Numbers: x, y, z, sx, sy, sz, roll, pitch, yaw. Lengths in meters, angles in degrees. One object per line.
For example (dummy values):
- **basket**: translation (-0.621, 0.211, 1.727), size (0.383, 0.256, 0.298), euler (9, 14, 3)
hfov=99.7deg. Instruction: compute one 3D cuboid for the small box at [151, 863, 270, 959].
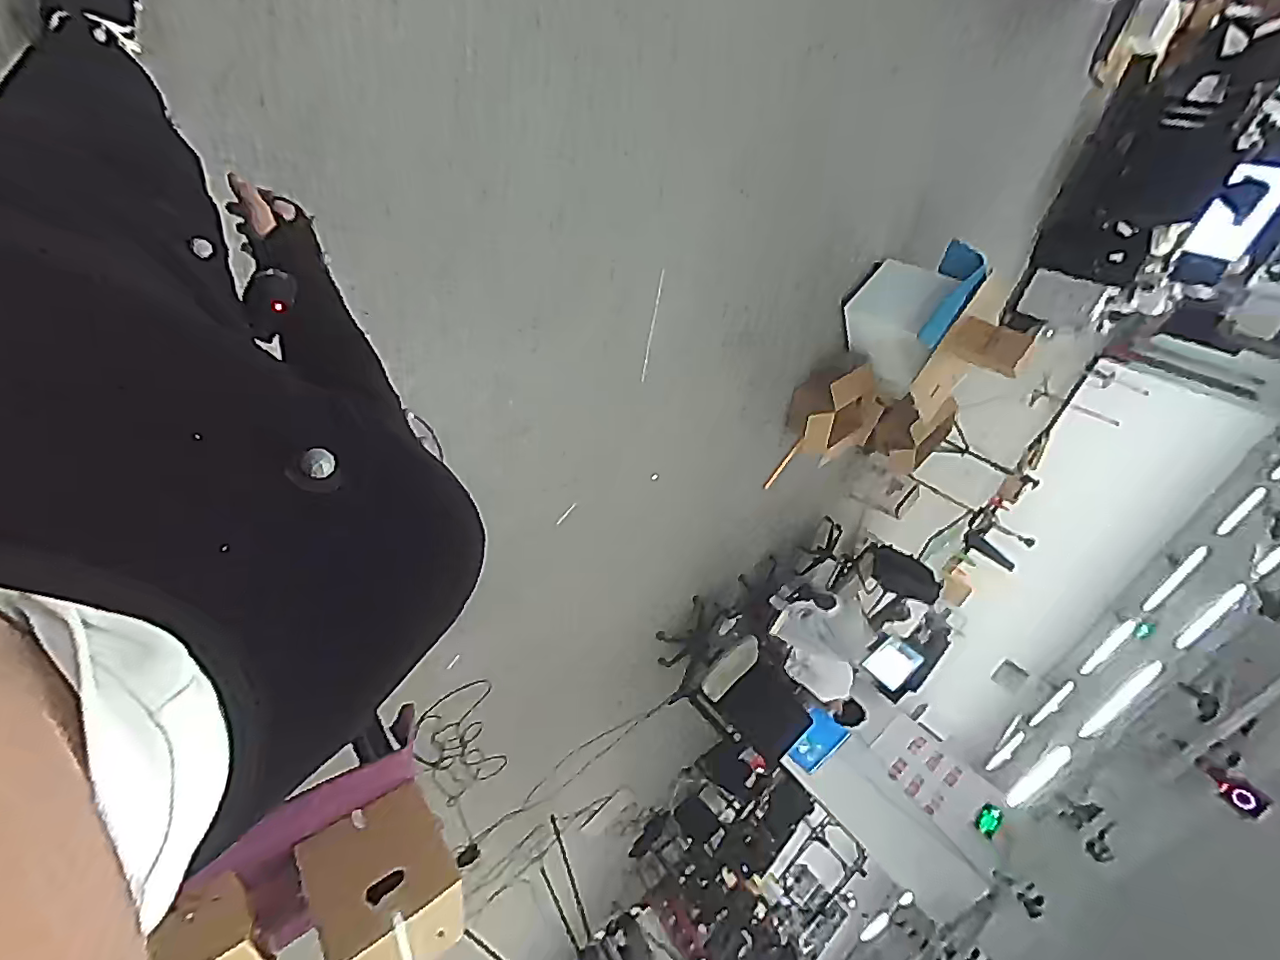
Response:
- **small box**: translation (-0.967, 1.019, 1.222), size (0.168, 0.176, 0.179), euler (-20, 137, -37)
